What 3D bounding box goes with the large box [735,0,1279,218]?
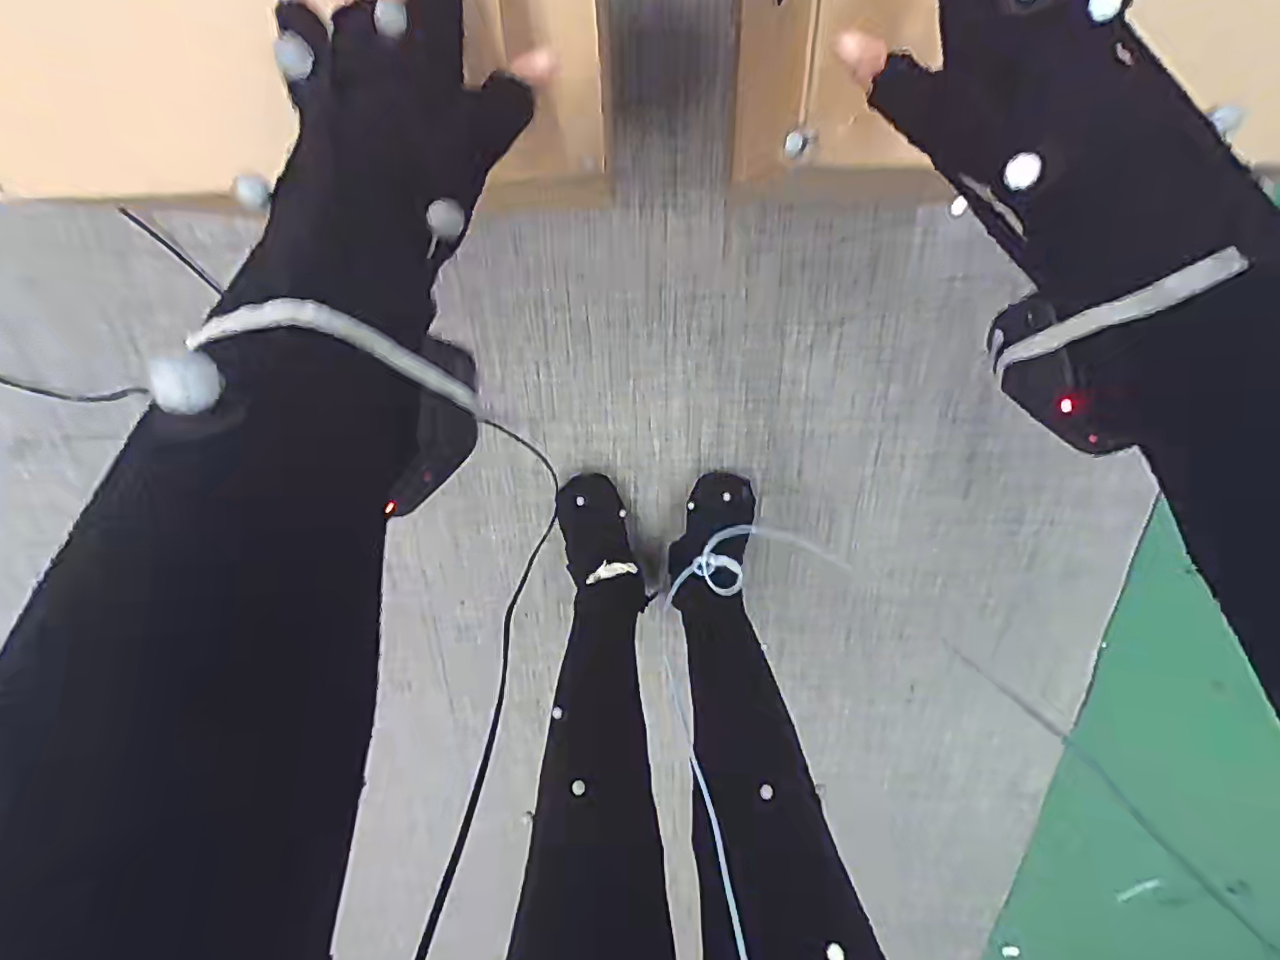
[{"bbox_3d":[0.314,-0.403,0.466,0.408,0.320,0.320,0,112,0],"label":"large box"}]
